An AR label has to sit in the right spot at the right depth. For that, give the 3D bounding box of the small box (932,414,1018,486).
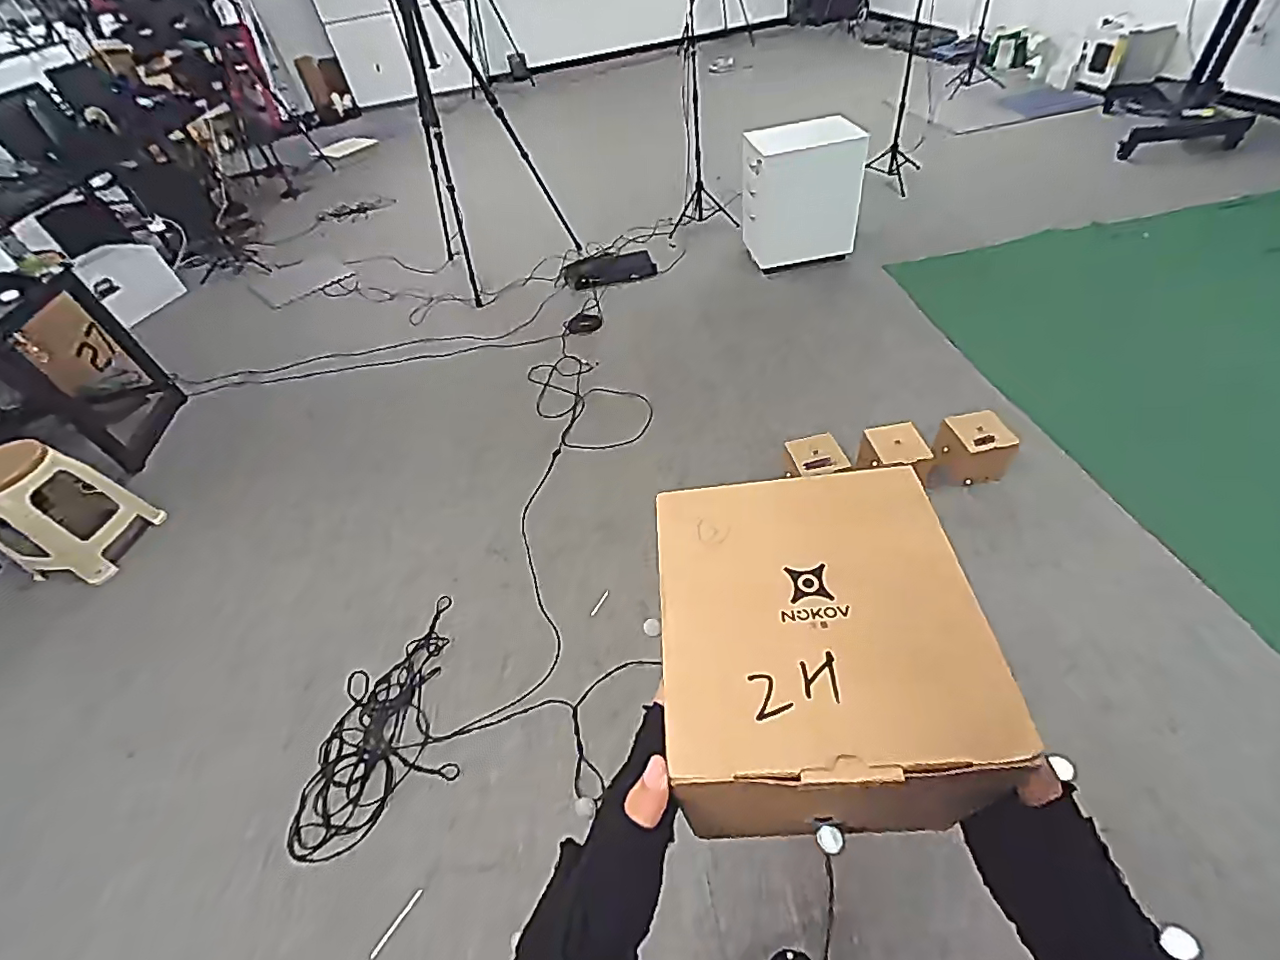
[{"bbox_3d":[1.126,-0.094,1.832,0.168,0.176,0.179,-10,46,0],"label":"small box"}]

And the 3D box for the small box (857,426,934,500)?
[{"bbox_3d":[0.859,-0.057,1.842,0.168,0.176,0.179,-9,47,0],"label":"small box"}]
